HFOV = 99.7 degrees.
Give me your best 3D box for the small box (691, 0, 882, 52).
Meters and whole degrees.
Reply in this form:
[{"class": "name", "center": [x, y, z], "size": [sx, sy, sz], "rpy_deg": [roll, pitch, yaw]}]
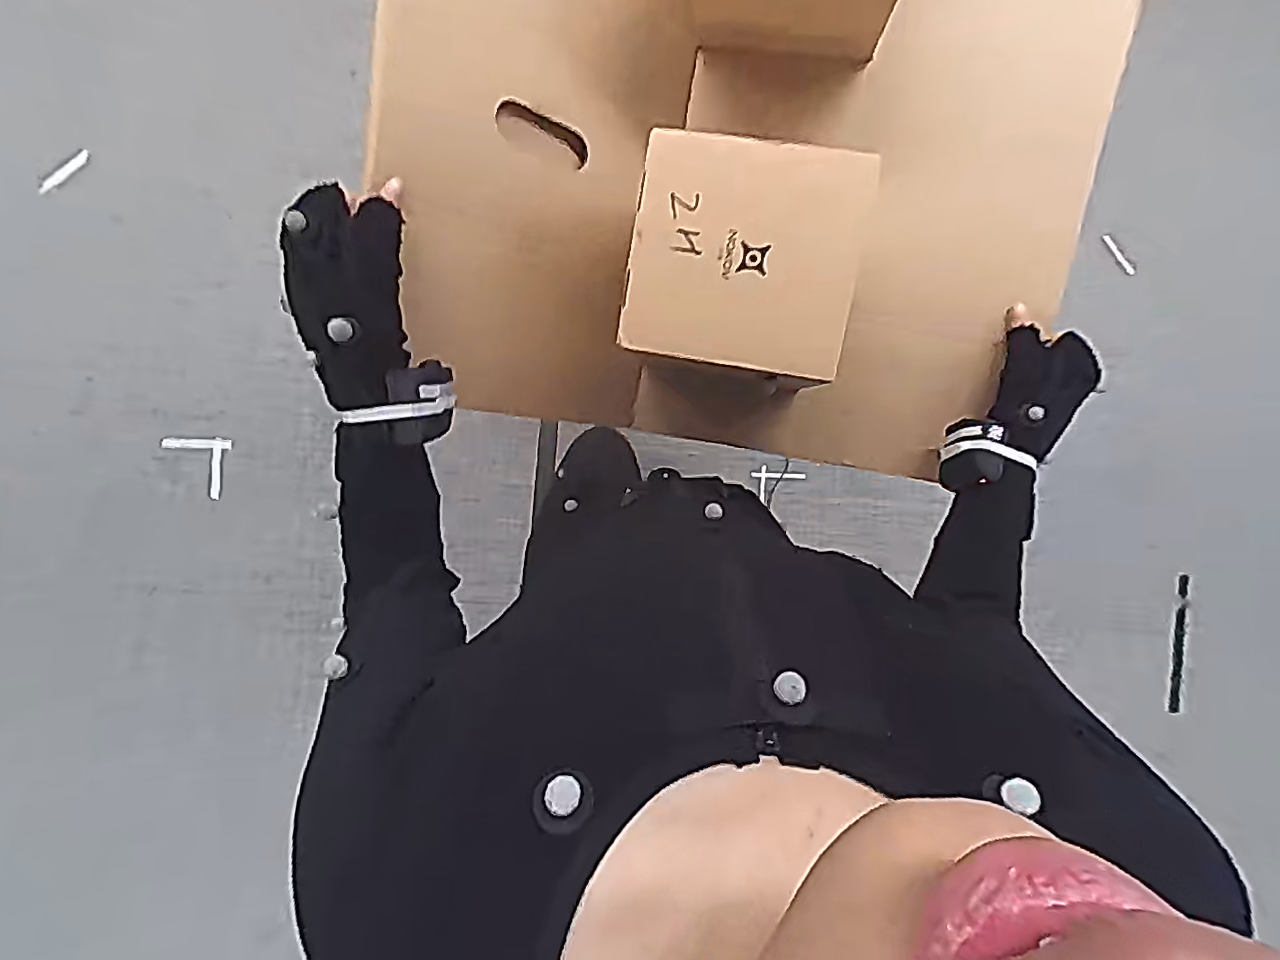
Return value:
[{"class": "small box", "center": [0.137, -0.502, 0.452], "size": [0.179, 0.176, 0.168], "rpy_deg": [10, 99, 6]}]
